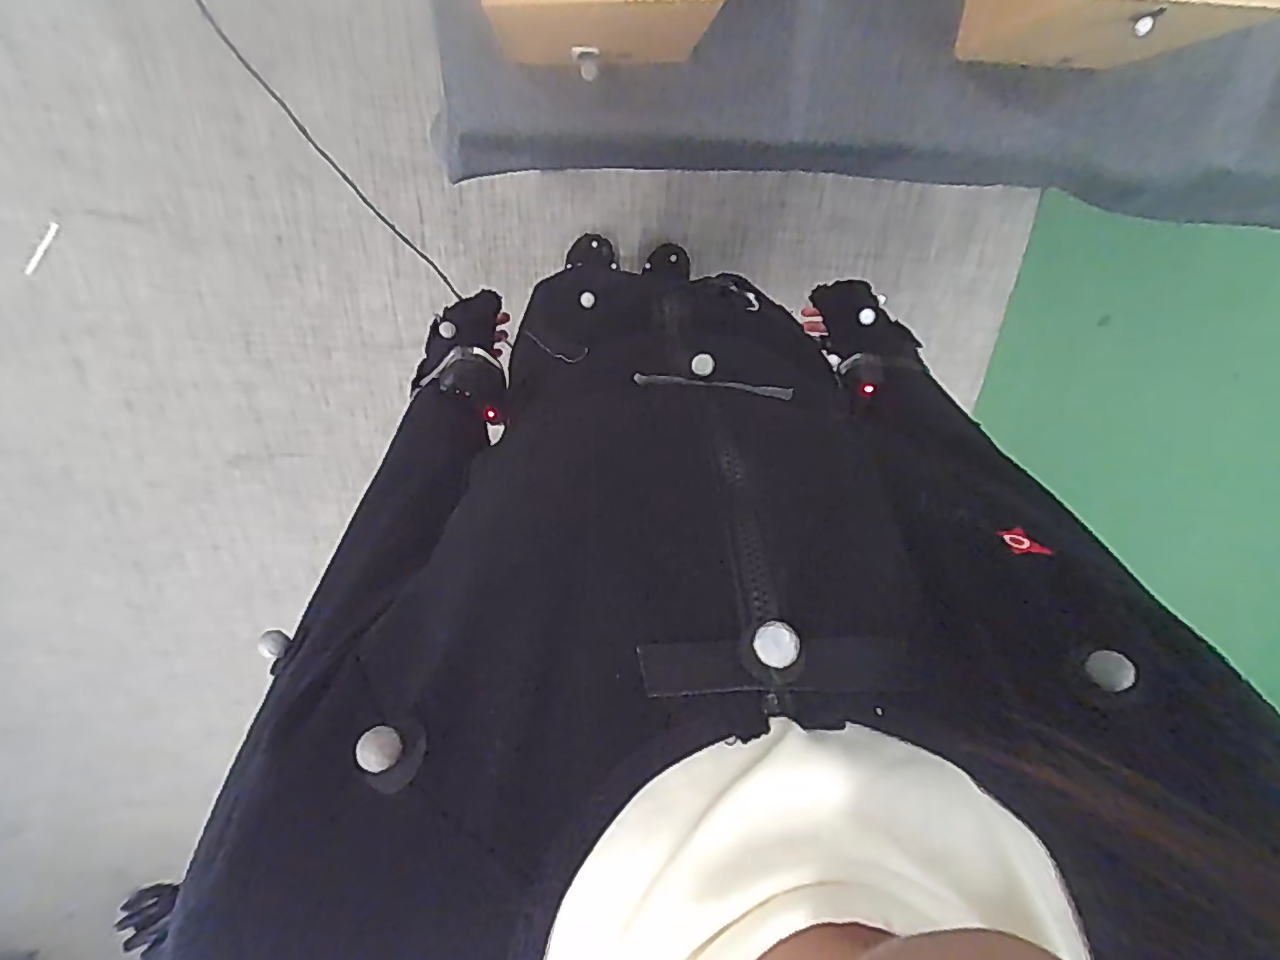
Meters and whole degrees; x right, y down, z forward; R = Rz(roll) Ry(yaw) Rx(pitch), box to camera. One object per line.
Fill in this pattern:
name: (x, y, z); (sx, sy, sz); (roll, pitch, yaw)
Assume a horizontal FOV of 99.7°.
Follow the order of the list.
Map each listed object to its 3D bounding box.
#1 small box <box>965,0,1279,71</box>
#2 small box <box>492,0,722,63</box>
small box: (0.395, -0.454, 0.423); (0.168, 0.176, 0.179); (0, 115, -5)
small box: (-0.030, -0.421, 0.375); (0.168, 0.176, 0.179); (-1, 116, -3)
